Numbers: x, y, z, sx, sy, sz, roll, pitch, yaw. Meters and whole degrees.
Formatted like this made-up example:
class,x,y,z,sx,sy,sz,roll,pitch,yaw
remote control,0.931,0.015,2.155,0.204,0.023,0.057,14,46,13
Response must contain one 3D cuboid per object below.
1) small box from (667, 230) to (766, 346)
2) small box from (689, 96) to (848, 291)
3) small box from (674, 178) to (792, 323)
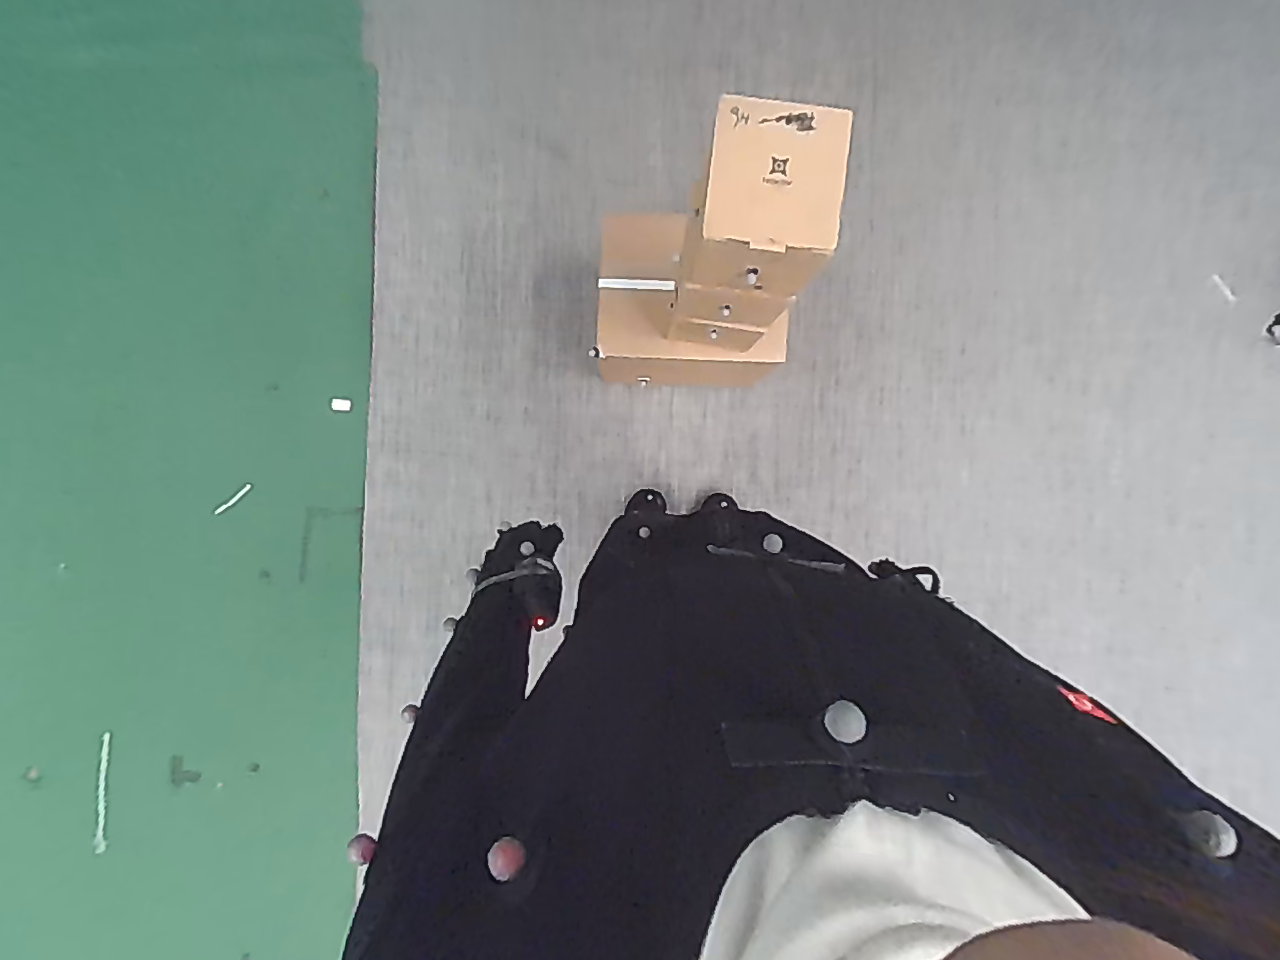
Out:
class,x,y,z,sx,sy,sz,roll,pitch,yaw
small box,0.152,-0.371,1.067,0.179,0.176,0.168,7,92,-2
small box,0.162,-0.374,0.739,0.168,0.176,0.179,7,93,-1
small box,0.156,-0.370,0.903,0.179,0.176,0.168,7,92,1
